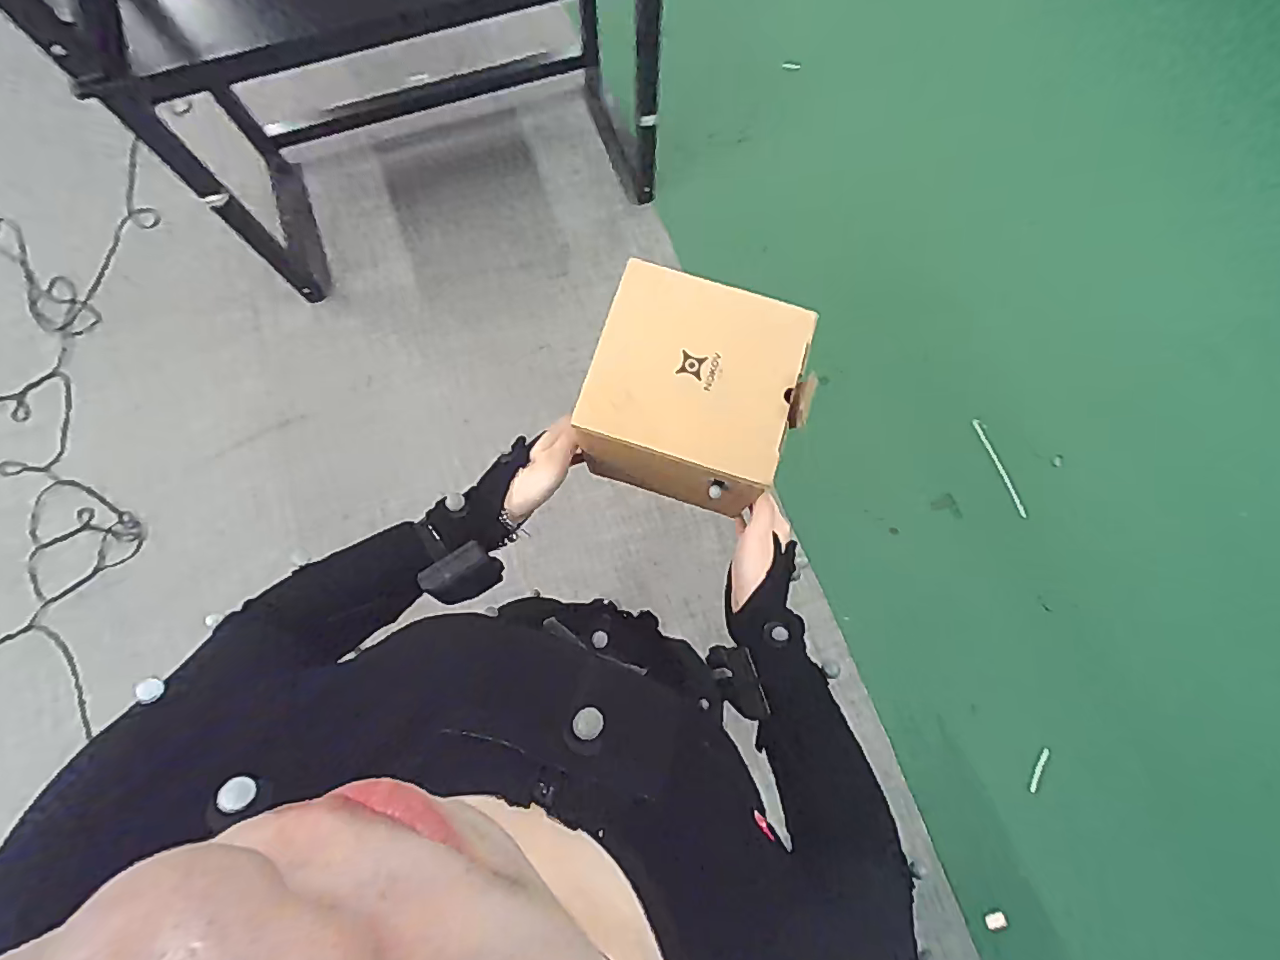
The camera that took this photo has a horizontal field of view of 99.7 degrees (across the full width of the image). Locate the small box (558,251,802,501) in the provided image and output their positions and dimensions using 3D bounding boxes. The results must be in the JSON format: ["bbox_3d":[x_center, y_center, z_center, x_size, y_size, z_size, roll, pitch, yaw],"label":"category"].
[{"bbox_3d":[0.035,-0.087,0.537,0.179,0.176,0.168,17,77,2],"label":"small box"}]
